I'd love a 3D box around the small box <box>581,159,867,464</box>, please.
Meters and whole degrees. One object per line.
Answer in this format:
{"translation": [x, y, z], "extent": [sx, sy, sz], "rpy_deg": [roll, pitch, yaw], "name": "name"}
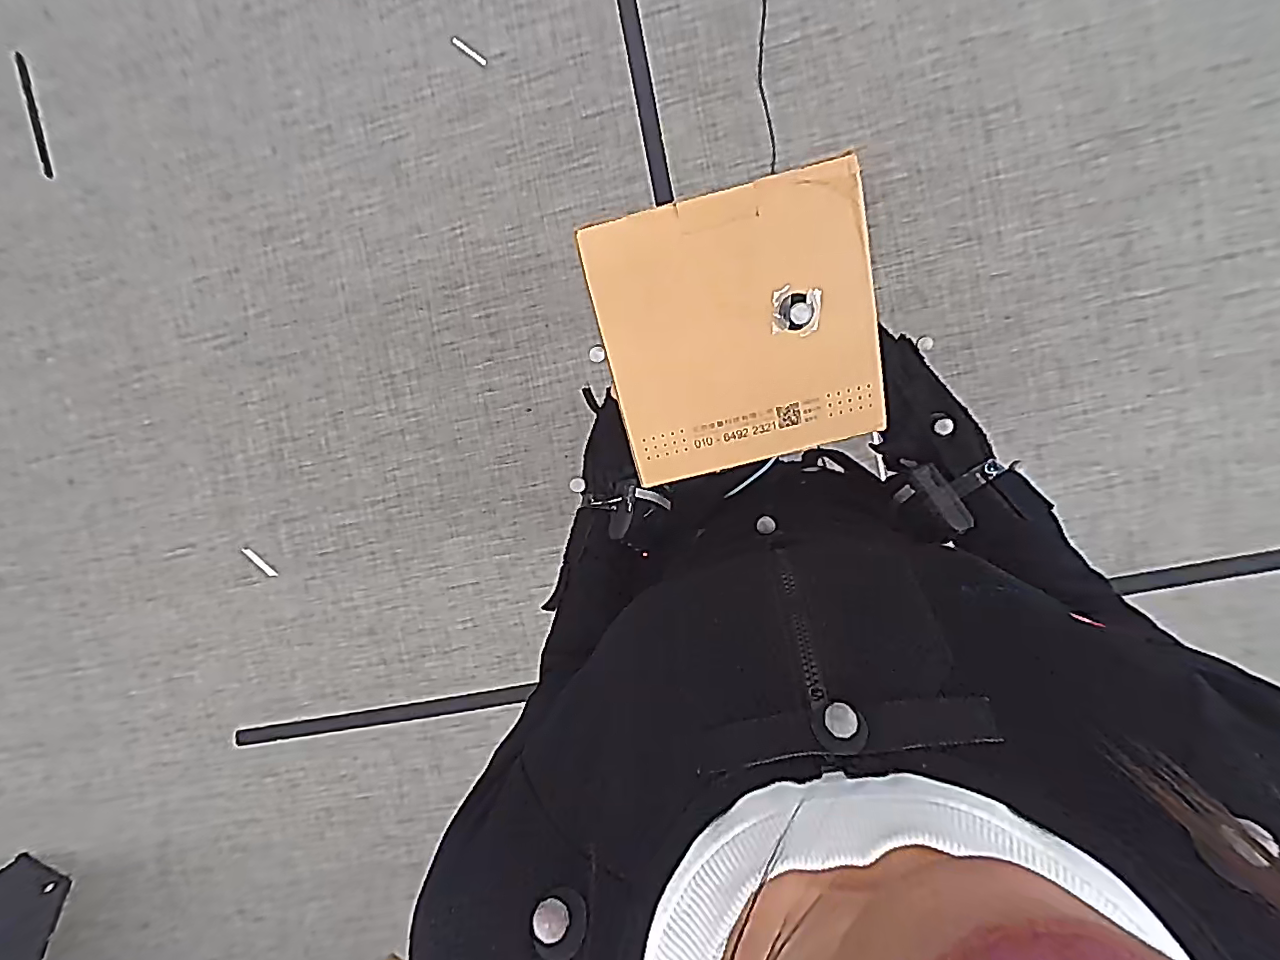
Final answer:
{"translation": [0.063, -0.122, 0.426], "extent": [0.168, 0.179, 0.176], "rpy_deg": [-13, 110, 6], "name": "small box"}
